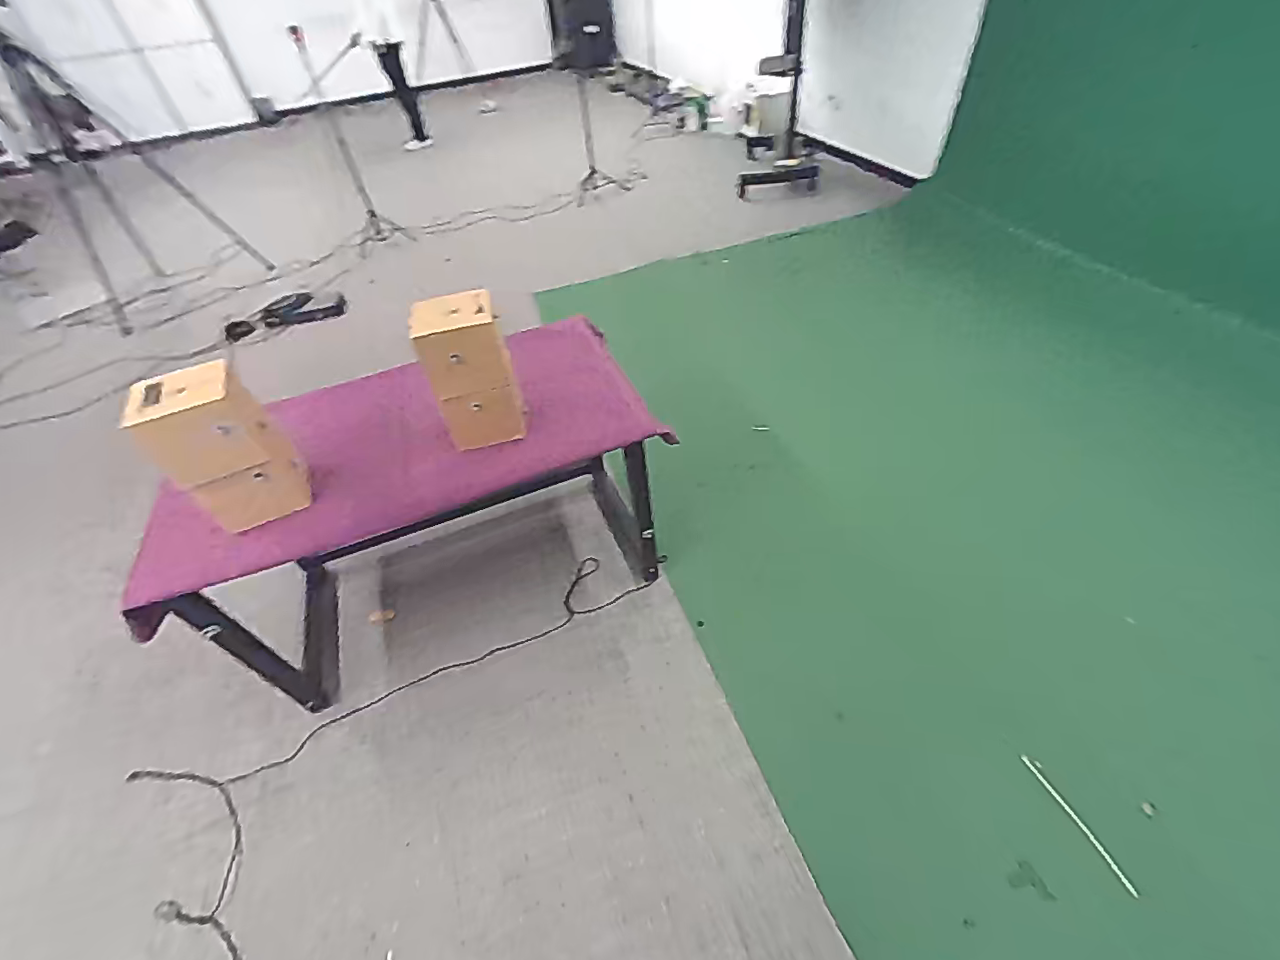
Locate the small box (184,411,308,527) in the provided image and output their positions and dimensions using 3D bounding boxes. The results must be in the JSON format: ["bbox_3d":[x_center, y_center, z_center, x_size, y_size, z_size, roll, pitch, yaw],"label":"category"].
[{"bbox_3d":[-0.887,-0.024,1.240,0.179,0.176,0.168,-23,48,-14],"label":"small box"}]

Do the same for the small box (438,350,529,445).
[{"bbox_3d":[-0.389,-0.208,1.360,0.179,0.176,0.168,-11,47,-4],"label":"small box"}]

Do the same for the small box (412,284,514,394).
[{"bbox_3d":[-0.402,-0.320,1.242,0.179,0.176,0.168,-14,48,-6],"label":"small box"}]
